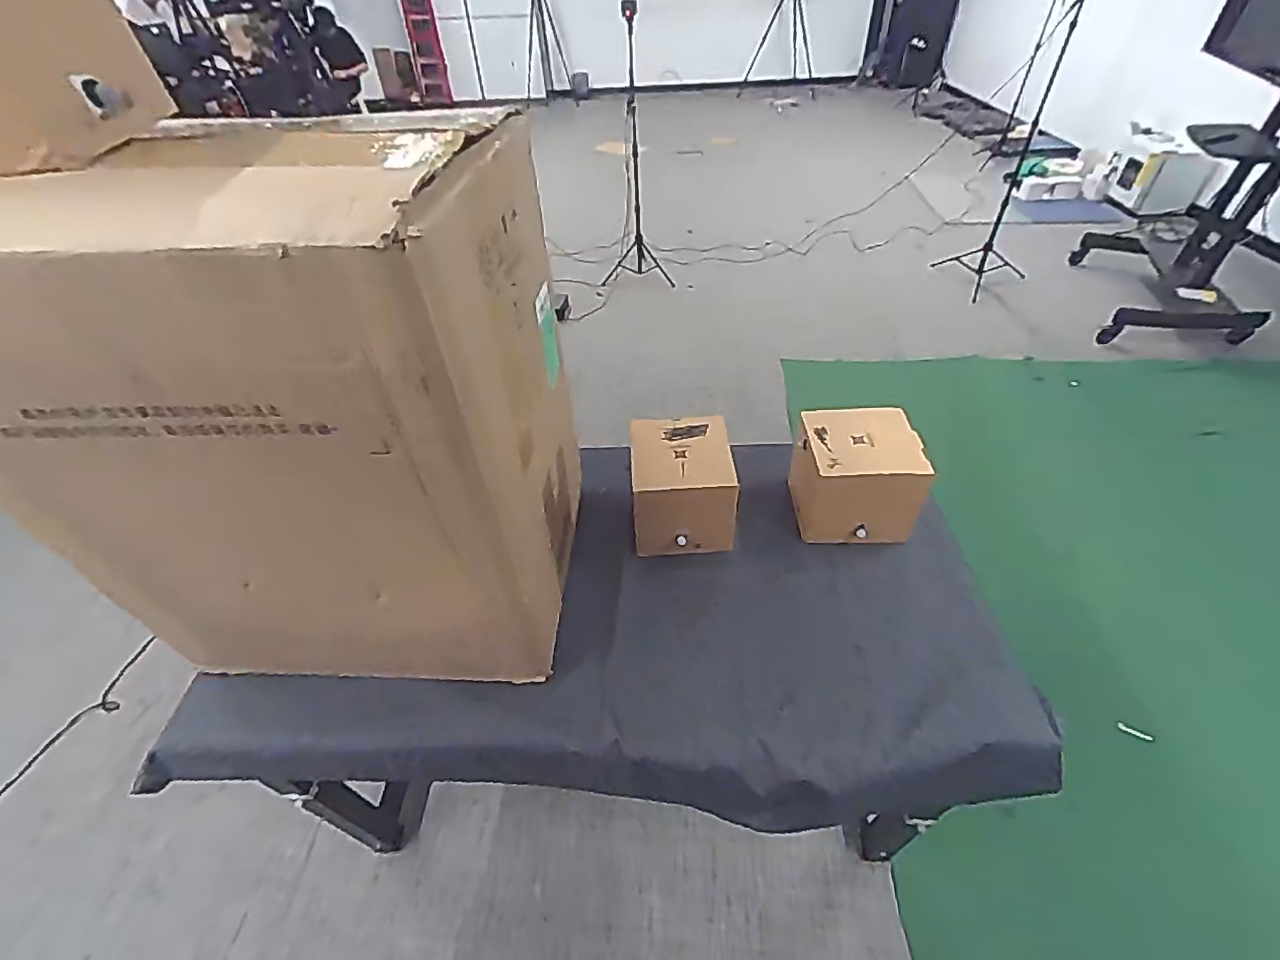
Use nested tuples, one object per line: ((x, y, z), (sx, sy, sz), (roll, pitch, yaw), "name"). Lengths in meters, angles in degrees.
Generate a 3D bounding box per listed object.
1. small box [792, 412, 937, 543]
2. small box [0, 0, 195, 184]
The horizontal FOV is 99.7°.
((0.378, -0.003, 0.947), (0.179, 0.176, 0.168), (-1, 44, 3), "small box")
((-0.539, -0.360, 0.445), (0.179, 0.176, 0.168), (-3, 50, 0), "small box")
